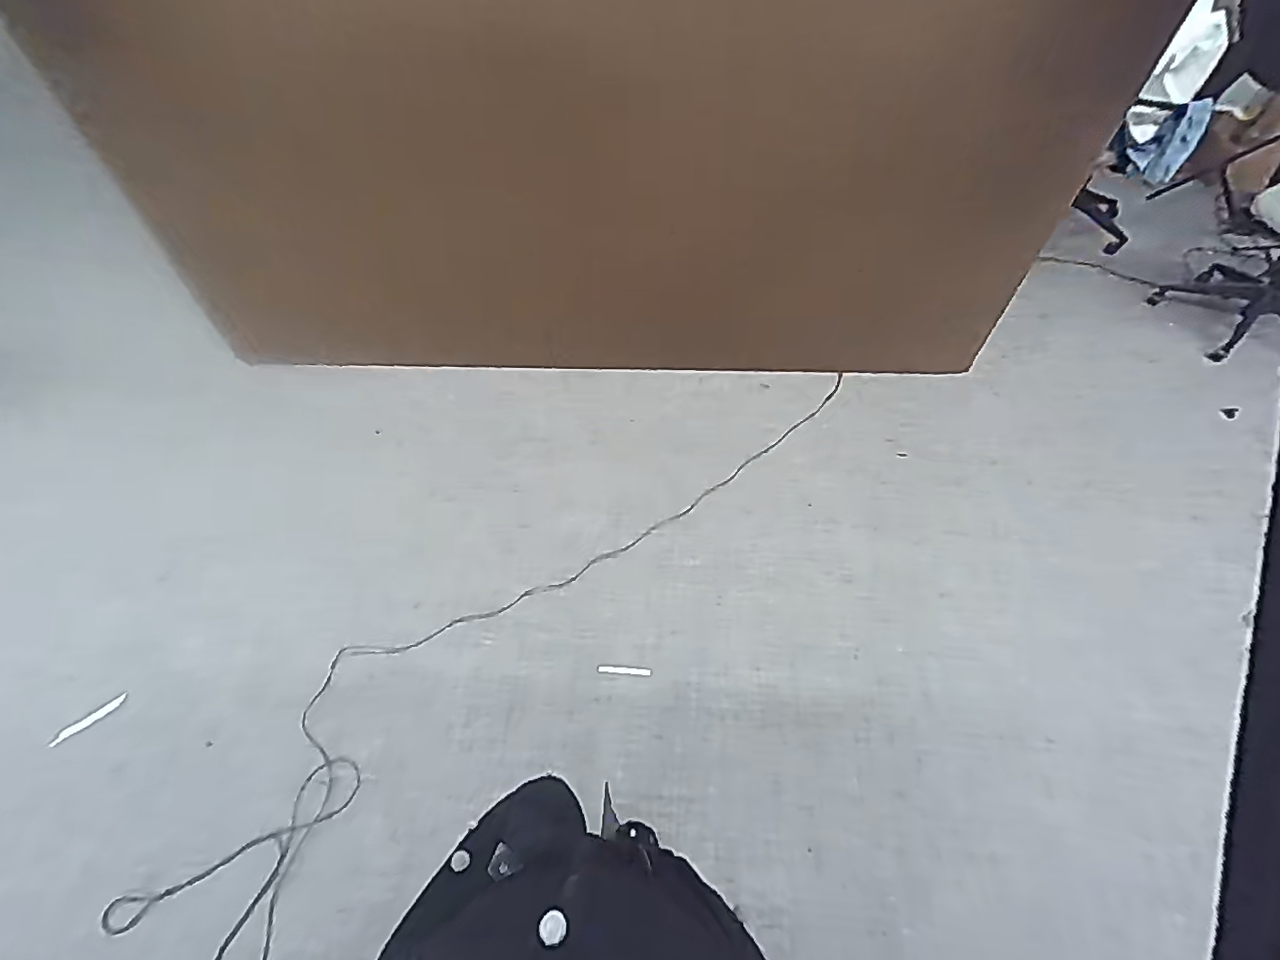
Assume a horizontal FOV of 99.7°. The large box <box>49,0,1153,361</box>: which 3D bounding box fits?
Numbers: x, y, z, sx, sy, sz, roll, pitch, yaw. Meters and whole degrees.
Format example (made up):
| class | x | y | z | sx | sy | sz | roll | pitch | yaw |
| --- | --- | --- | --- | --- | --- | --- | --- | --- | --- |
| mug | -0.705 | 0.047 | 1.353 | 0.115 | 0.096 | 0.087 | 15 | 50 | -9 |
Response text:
| class | x | y | z | sx | sy | sz | roll | pitch | yaw |
| --- | --- | --- | --- | --- | --- | --- | --- | --- | --- |
| large box | -0.015 | -0.278 | 0.292 | 0.408 | 0.320 | 0.320 | 1 | 51 | -2 |
